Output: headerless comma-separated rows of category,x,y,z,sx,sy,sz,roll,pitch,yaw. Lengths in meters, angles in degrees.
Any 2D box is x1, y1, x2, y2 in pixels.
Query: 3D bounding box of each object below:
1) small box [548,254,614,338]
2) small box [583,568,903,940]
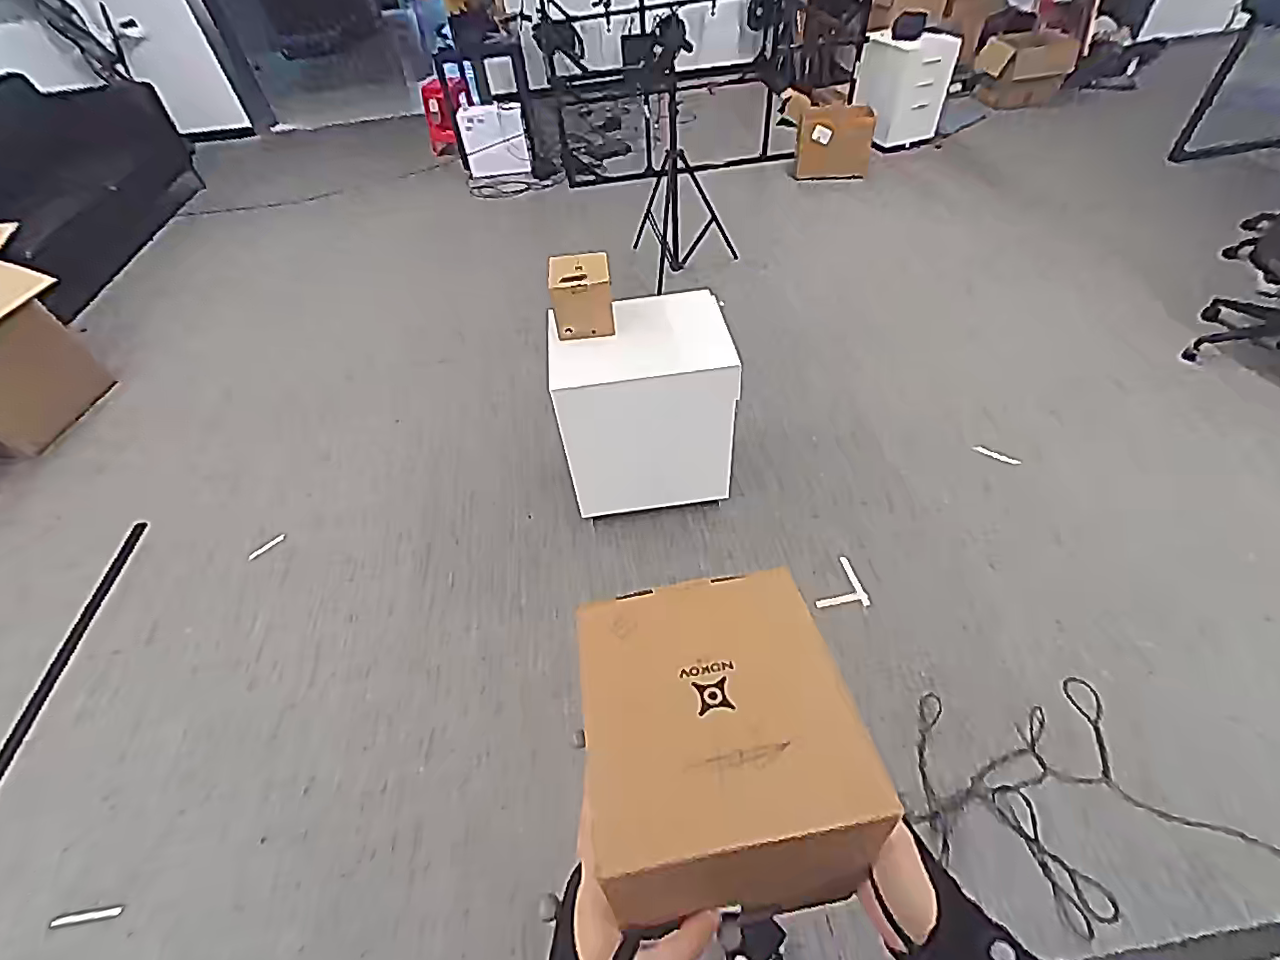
small box,-0.167,-0.522,1.555,0.168,0.176,0.179,-6,48,-1
small box,0.053,0.194,0.395,0.168,0.176,0.179,-9,40,-4
